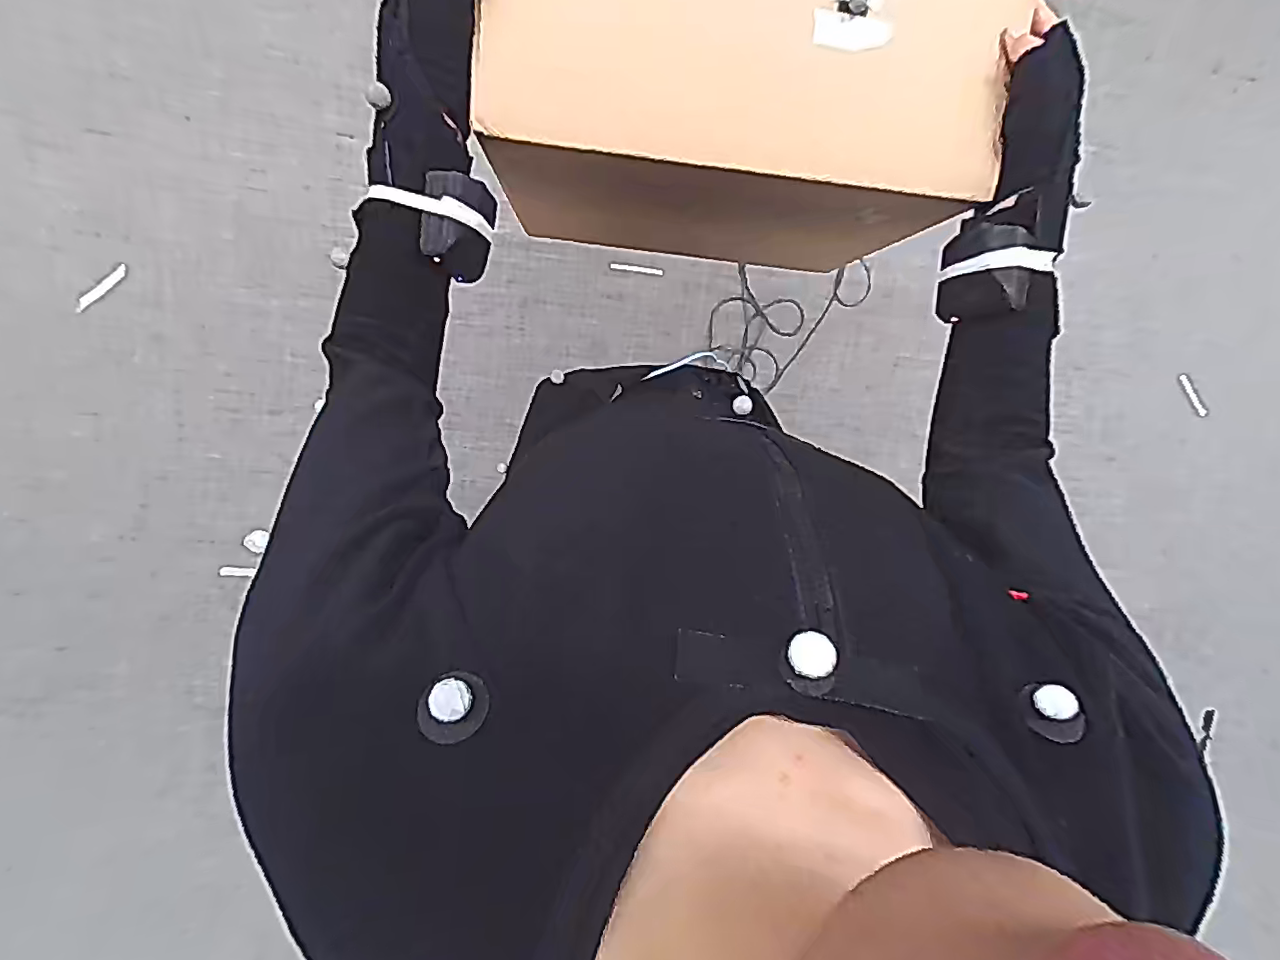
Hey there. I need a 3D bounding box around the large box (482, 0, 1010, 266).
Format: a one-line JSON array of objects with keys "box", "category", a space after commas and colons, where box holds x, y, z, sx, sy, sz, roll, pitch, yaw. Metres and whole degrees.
[{"box": [0.075, -0.422, 0.541, 0.408, 0.320, 0.320, 5, 102, -6], "category": "large box"}]
